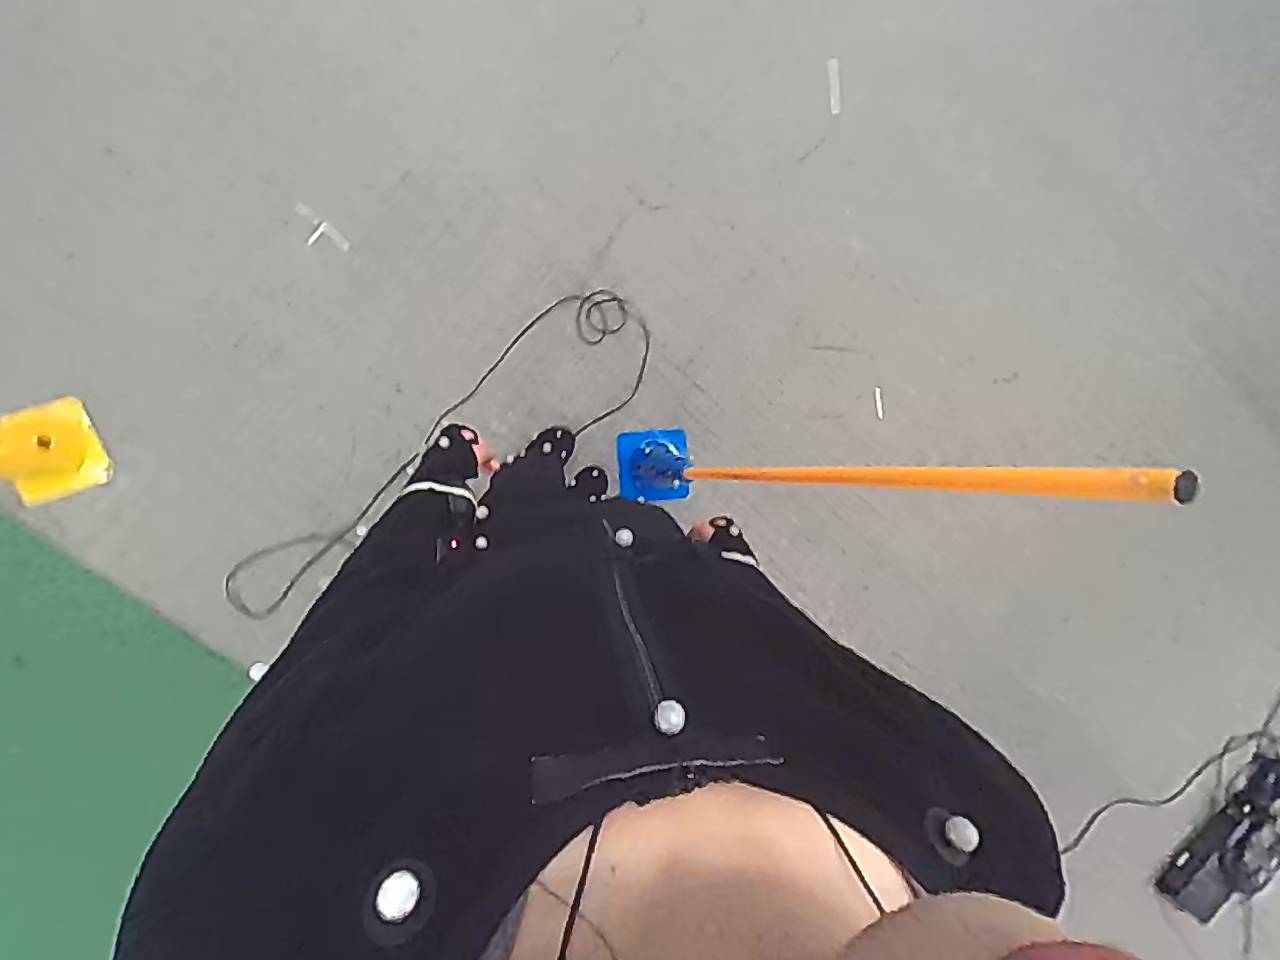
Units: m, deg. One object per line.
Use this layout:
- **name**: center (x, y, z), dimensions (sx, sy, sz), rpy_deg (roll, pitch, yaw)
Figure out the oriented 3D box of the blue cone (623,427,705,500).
- **blue cone**: center (0.082, -0.034, 1.327), dimensions (0.193, 0.380, 0.192), rpy_deg (-6, 96, -11)
